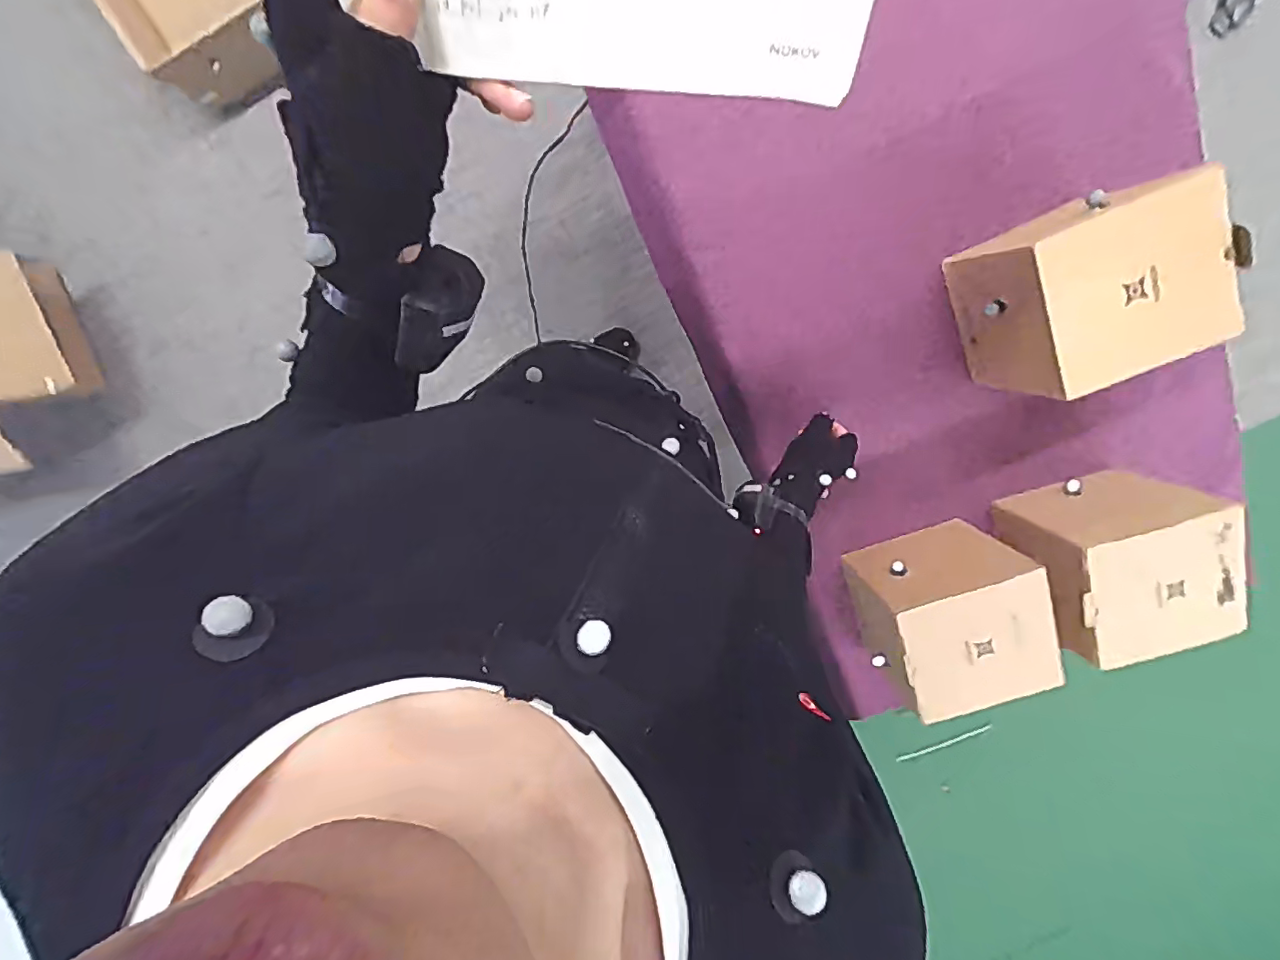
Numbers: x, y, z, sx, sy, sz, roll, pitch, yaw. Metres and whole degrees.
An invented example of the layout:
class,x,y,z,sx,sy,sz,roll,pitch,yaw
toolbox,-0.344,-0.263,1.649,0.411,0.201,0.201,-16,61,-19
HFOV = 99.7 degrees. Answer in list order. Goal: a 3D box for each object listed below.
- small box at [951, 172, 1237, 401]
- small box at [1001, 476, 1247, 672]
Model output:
class,x,y,z,sx,sy,sz,roll,pitch,yaw
small box,0.483,-0.202,0.605,0.179,0.176,0.168,-24,104,5
small box,0.594,0.109,0.688,0.179,0.176,0.168,-16,105,4
